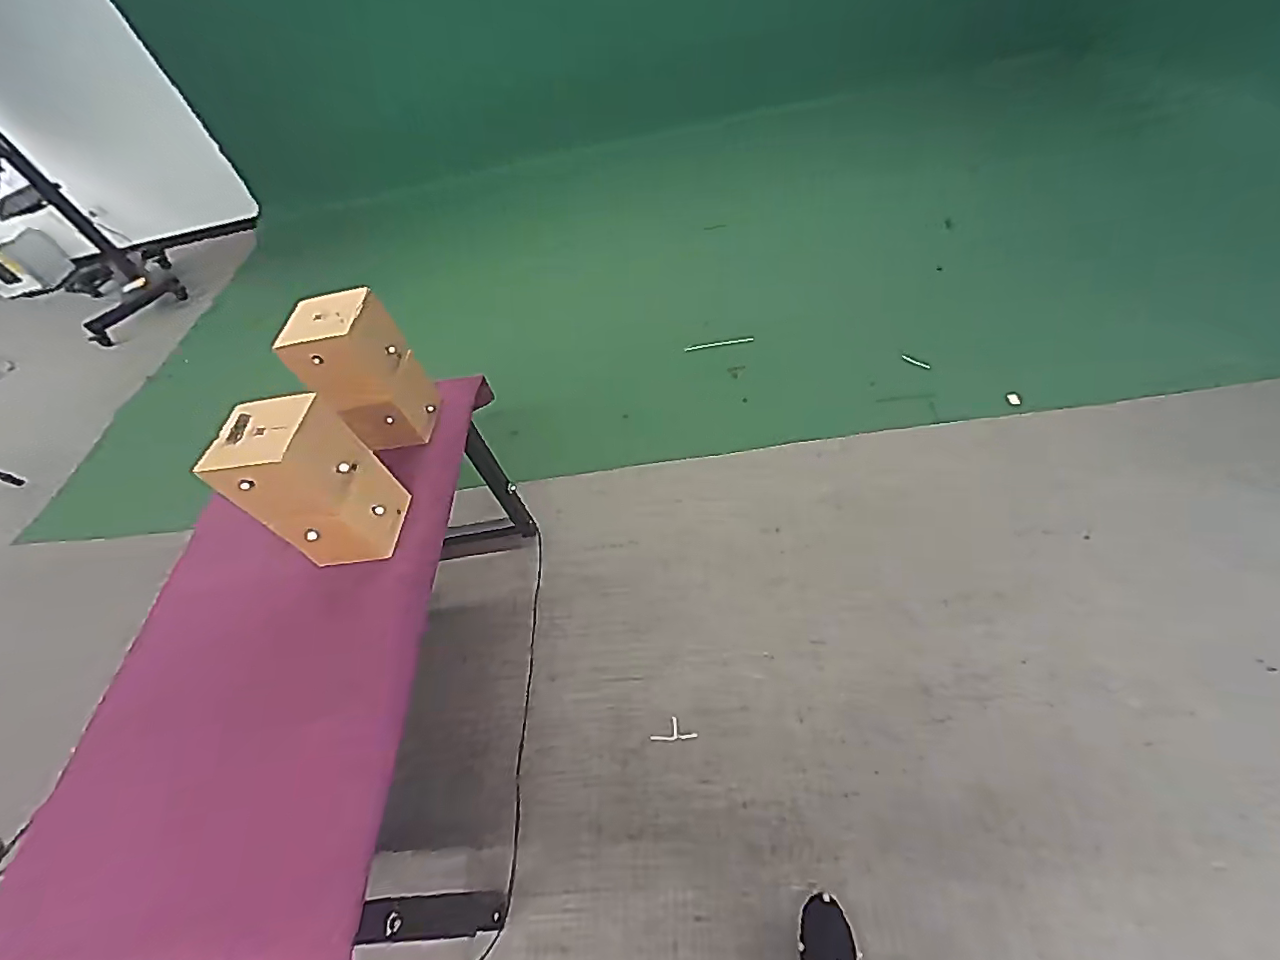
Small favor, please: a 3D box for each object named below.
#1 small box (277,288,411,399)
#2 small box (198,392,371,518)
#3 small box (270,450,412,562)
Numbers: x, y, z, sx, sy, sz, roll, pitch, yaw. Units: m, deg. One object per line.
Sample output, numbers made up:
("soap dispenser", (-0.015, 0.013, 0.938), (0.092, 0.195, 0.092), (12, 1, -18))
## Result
("small box", (-0.653, -0.299, 1.214), (0.179, 0.176, 0.168), (-7, 53, 8))
("small box", (-0.654, -0.040, 1.018), (0.179, 0.176, 0.168), (-5, 52, 10))
("small box", (-0.618, 0.059, 1.144), (0.179, 0.176, 0.168), (-7, 52, 10))
